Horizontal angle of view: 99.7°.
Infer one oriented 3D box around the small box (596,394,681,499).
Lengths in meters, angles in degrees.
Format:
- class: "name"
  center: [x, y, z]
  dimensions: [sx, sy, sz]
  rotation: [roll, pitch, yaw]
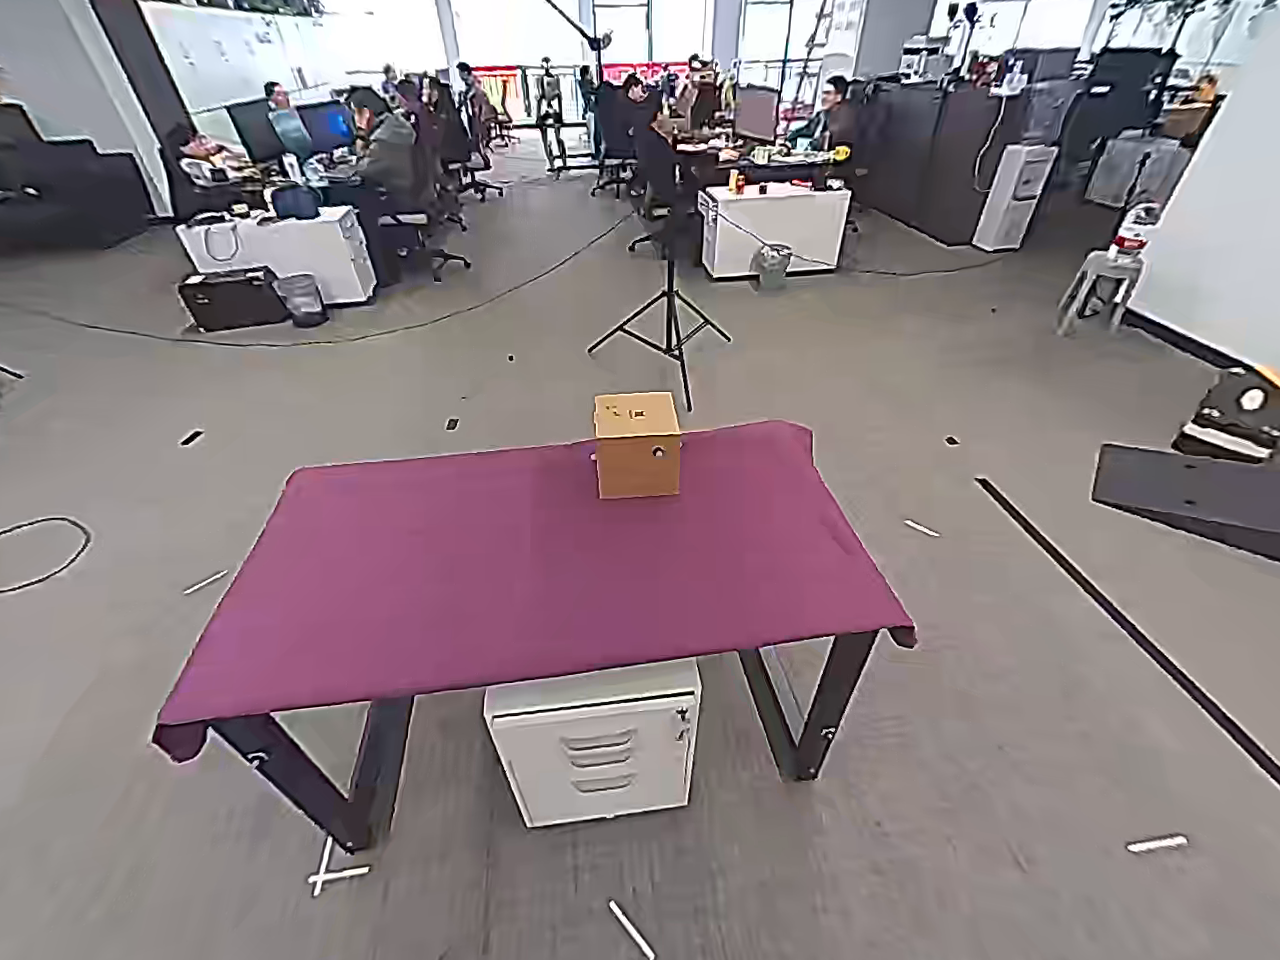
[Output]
- class: "small box"
  center: [-0.007, -0.074, 1.202]
  dimensions: [0.179, 0.176, 0.168]
  rotation: [-4, 40, -2]
